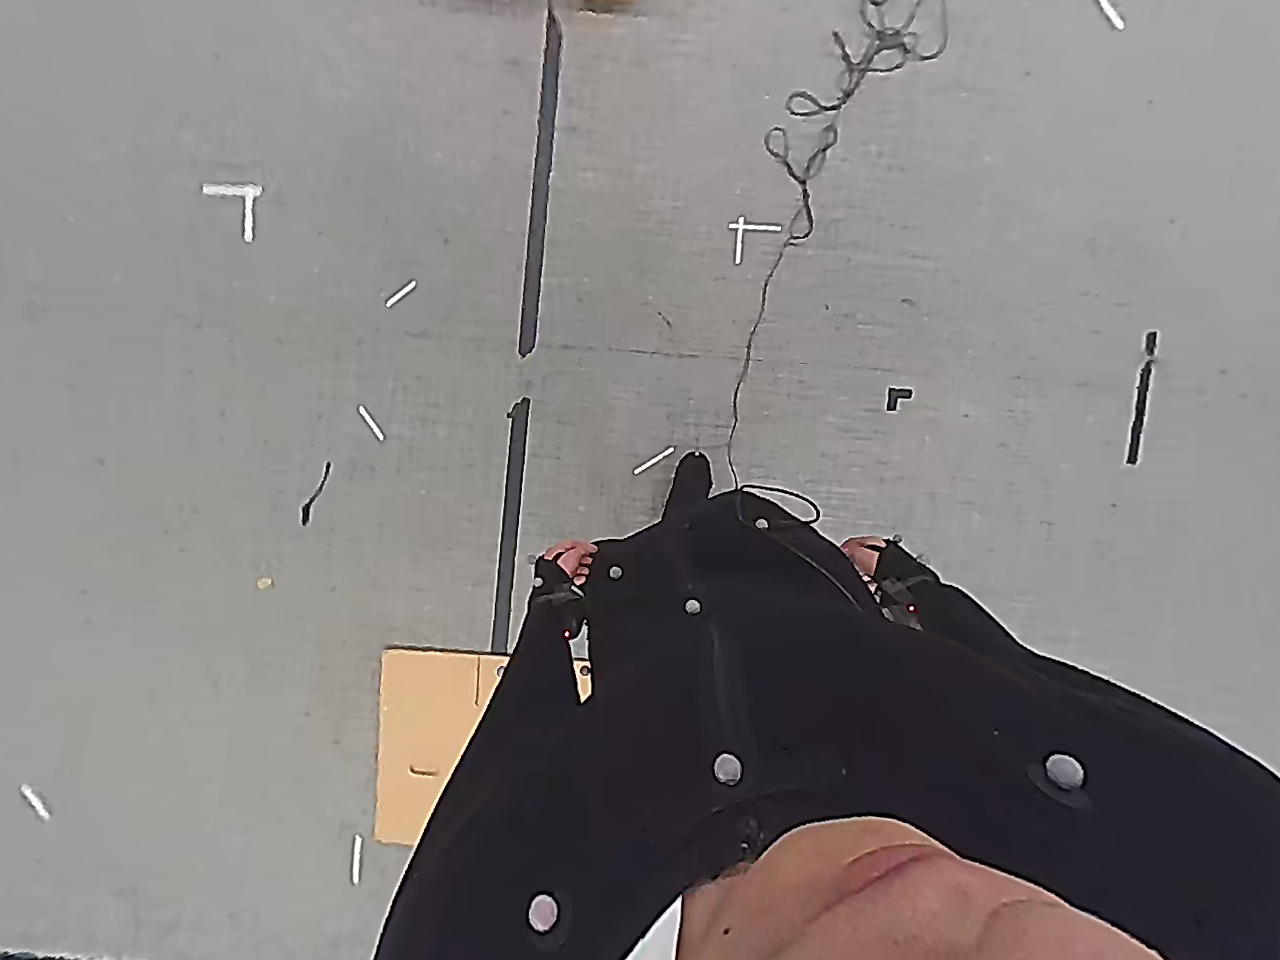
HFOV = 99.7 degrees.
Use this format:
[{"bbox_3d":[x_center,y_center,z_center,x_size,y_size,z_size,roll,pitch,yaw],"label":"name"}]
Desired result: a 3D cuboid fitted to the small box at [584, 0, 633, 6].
[{"bbox_3d":[-0.097,-1.466,1.497,0.168,0.176,0.179,2,92,0],"label":"small box"}]
